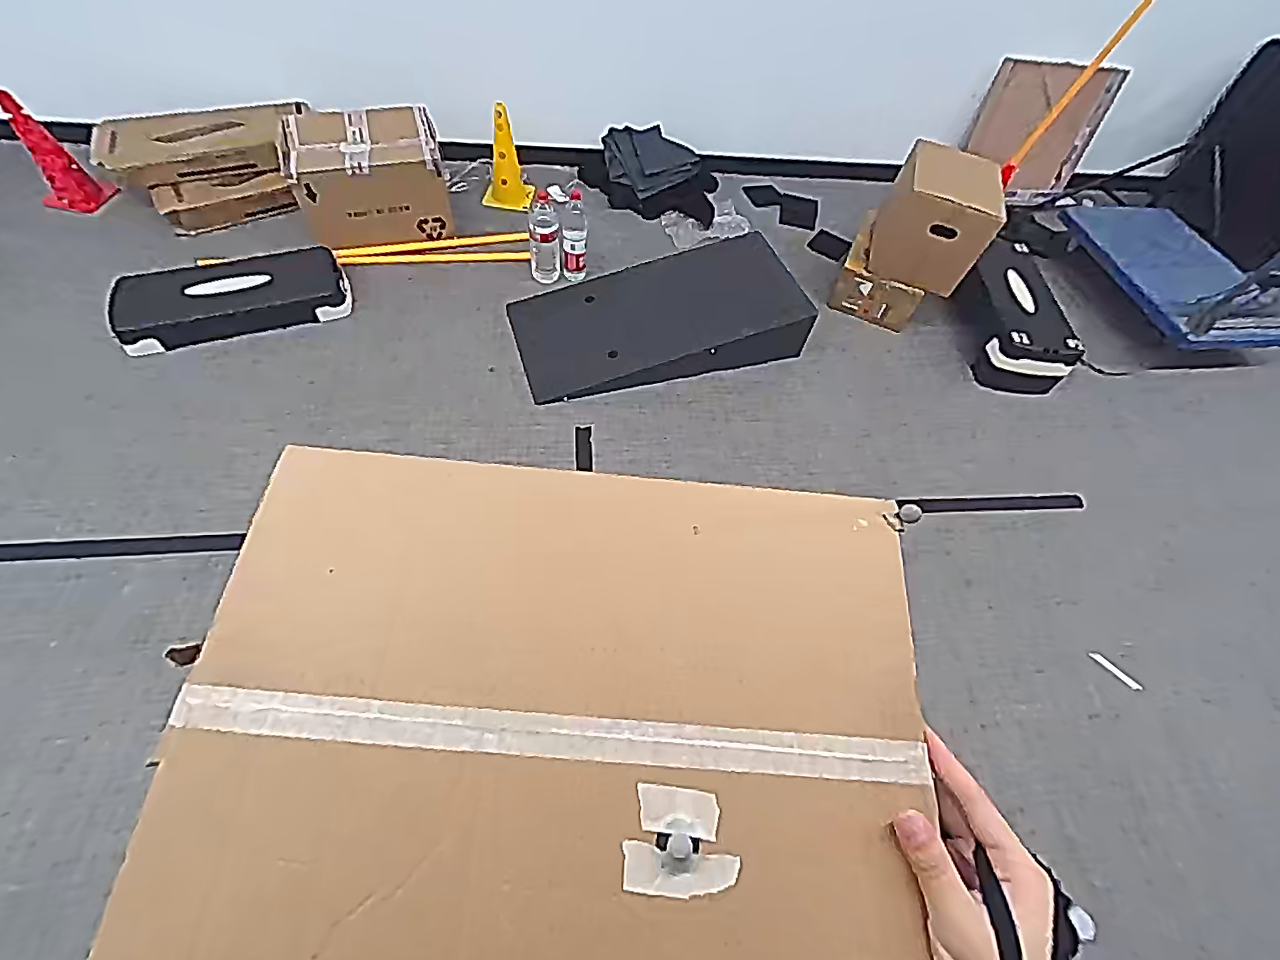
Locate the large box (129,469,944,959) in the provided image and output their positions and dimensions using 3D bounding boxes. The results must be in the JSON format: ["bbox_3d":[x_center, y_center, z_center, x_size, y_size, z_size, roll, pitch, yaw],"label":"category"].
[{"bbox_3d":[-0.047,0.206,0.440,0.408,0.320,0.320,5,67,-2],"label":"large box"}]
